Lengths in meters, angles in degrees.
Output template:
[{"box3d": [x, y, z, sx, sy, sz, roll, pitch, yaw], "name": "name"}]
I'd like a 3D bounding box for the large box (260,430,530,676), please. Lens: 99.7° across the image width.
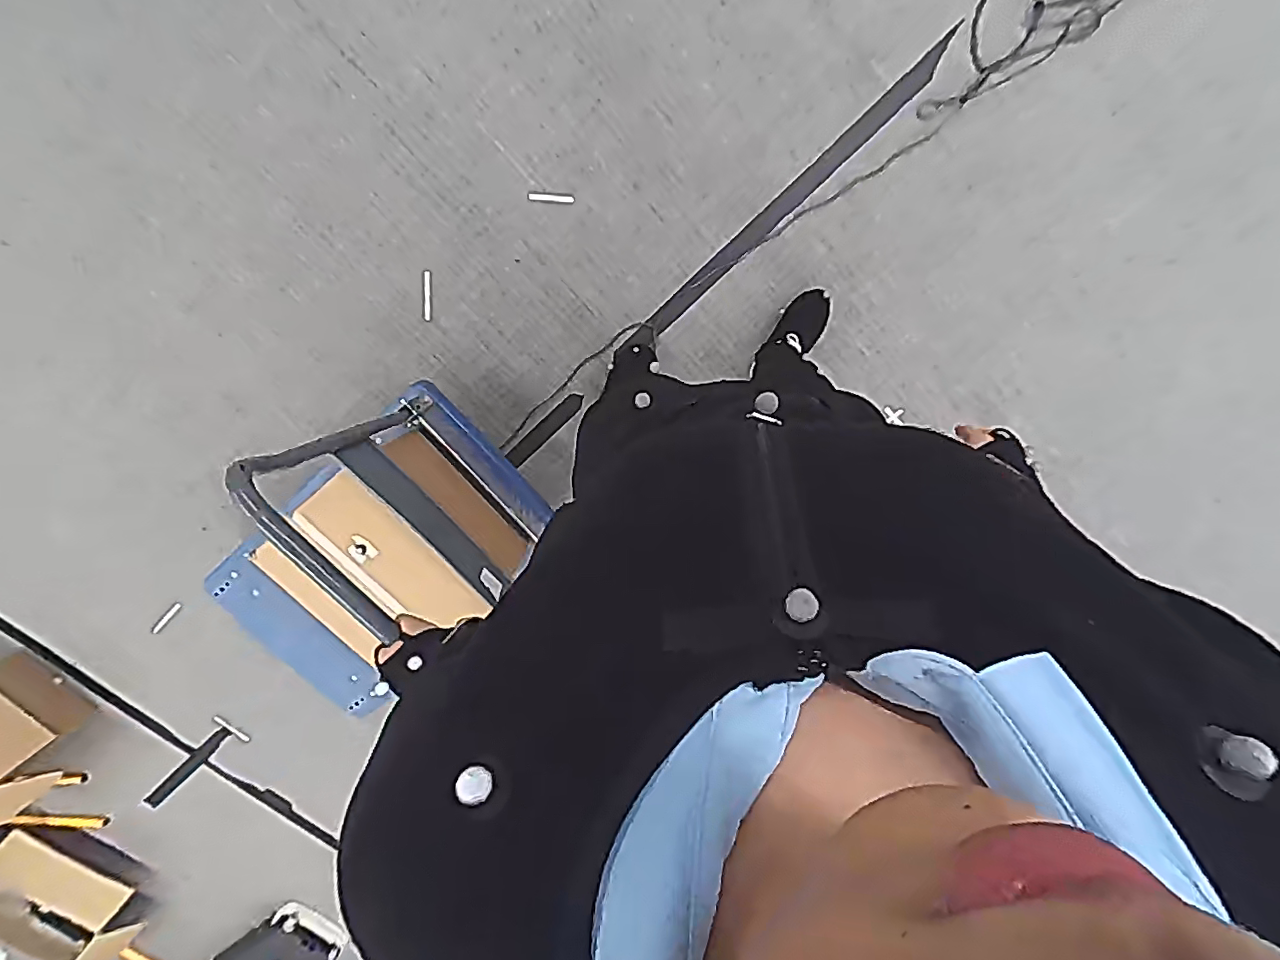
[{"box3d": [-0.526, 0.153, 1.248, 0.320, 0.320, 0.408, -39, 102, 12], "name": "large box"}]
